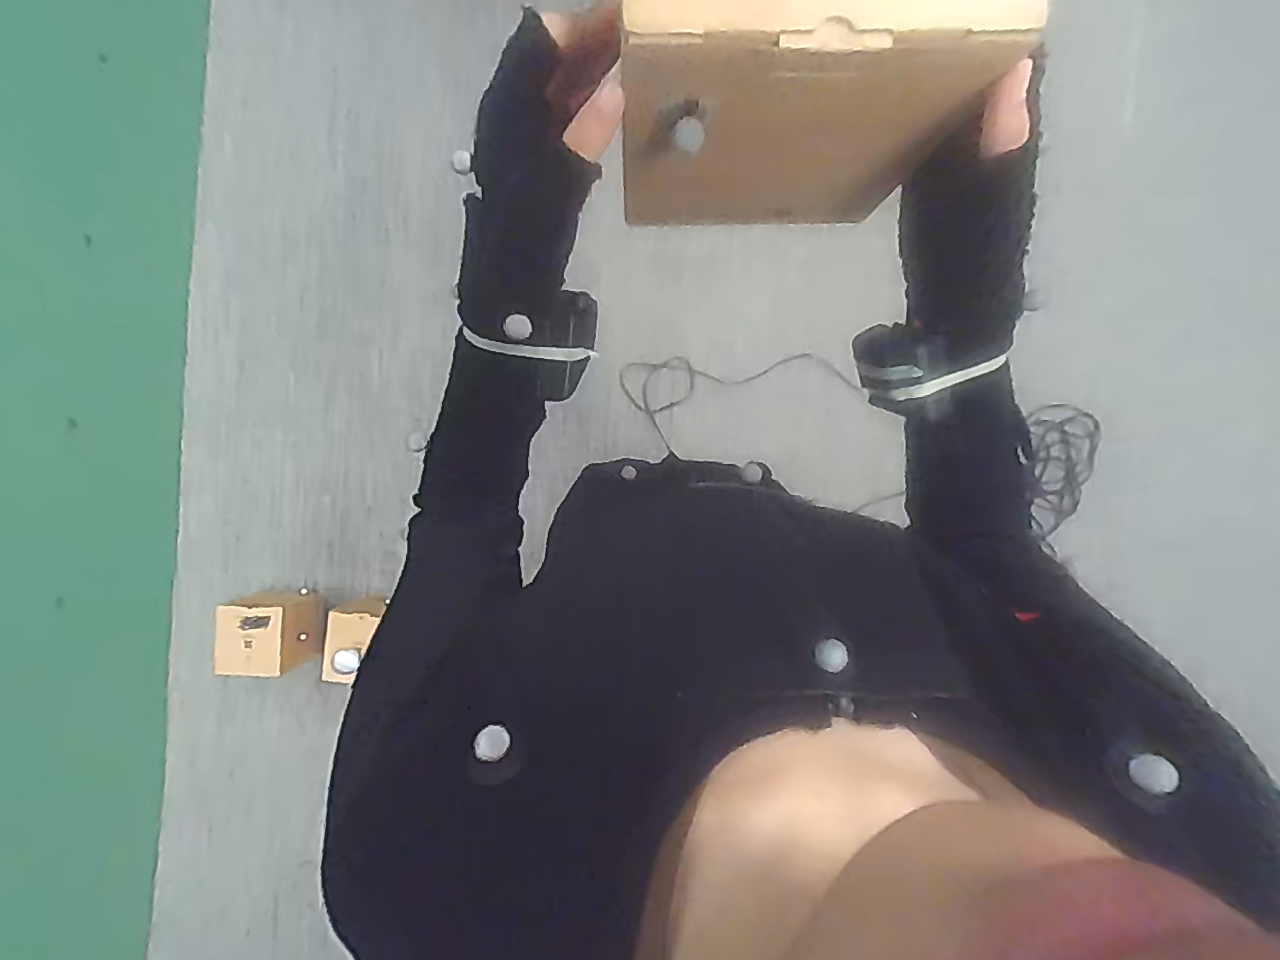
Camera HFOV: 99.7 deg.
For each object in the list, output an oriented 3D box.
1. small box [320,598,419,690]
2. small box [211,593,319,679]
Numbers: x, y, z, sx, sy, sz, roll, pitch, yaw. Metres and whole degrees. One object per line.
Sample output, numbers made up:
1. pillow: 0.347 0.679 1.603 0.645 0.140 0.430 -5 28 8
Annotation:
1. small box: -0.691 0.418 1.397 0.168 0.176 0.179 6 90 0
2. small box: -0.959 0.395 1.396 0.168 0.176 0.179 3 91 0
